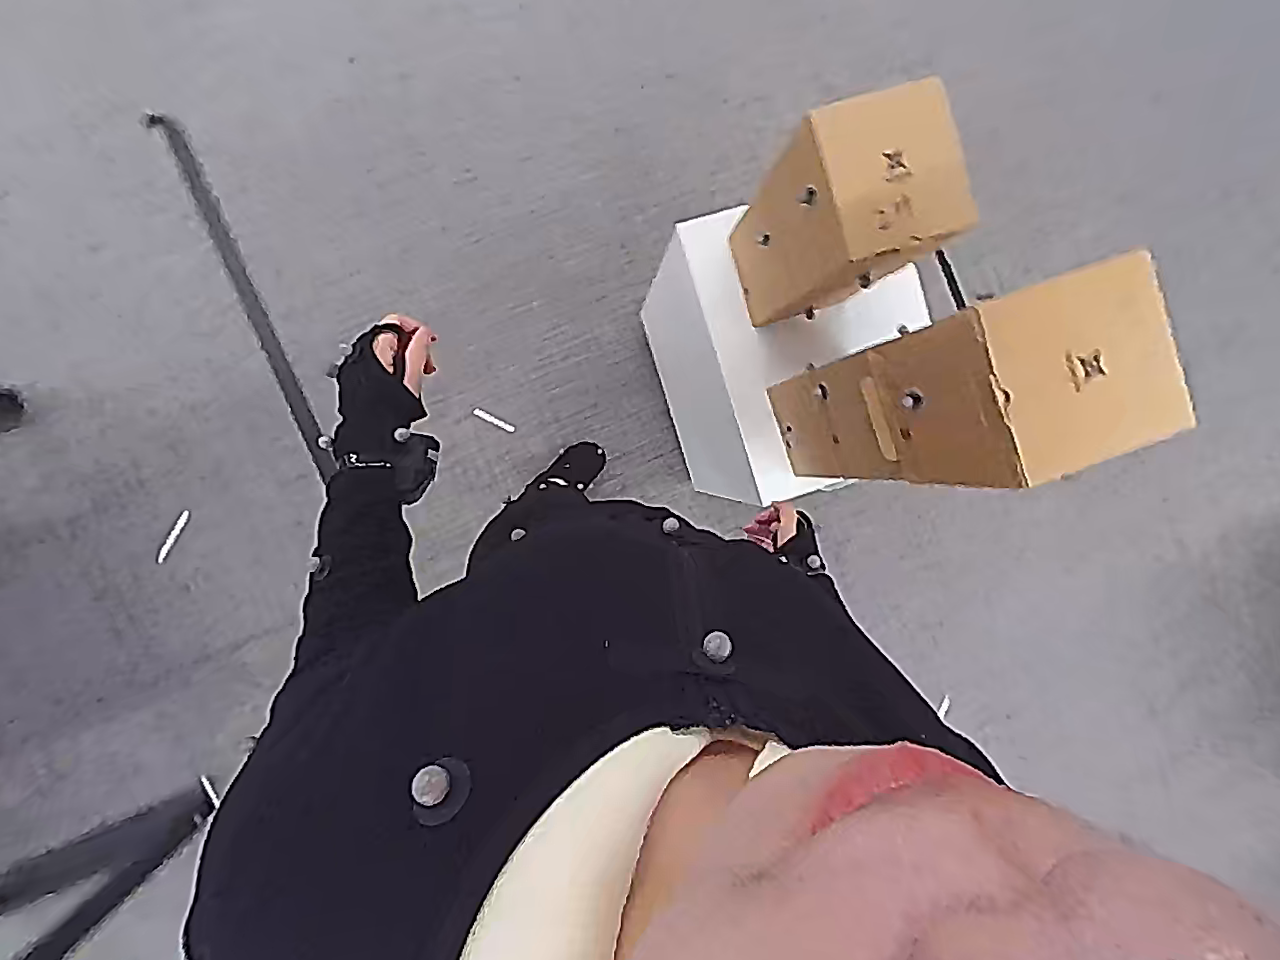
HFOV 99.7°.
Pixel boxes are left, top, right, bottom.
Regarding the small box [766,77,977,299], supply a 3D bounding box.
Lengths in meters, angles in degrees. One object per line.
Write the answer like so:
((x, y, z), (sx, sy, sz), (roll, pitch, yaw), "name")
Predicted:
((0.279, -0.355, 0.689), (0.168, 0.176, 0.179), (-17, 94, -5), "small box")

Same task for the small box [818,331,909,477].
((0.356, -0.106, 0.709), (0.179, 0.176, 0.168), (-19, 94, -6), "small box")

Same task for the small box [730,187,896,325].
((0.264, -0.362, 0.854), (0.179, 0.176, 0.168), (-17, 94, -7), "small box")

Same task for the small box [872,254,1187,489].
((0.374, -0.099, 0.547), (0.179, 0.176, 0.168), (-19, 94, -5), "small box")
